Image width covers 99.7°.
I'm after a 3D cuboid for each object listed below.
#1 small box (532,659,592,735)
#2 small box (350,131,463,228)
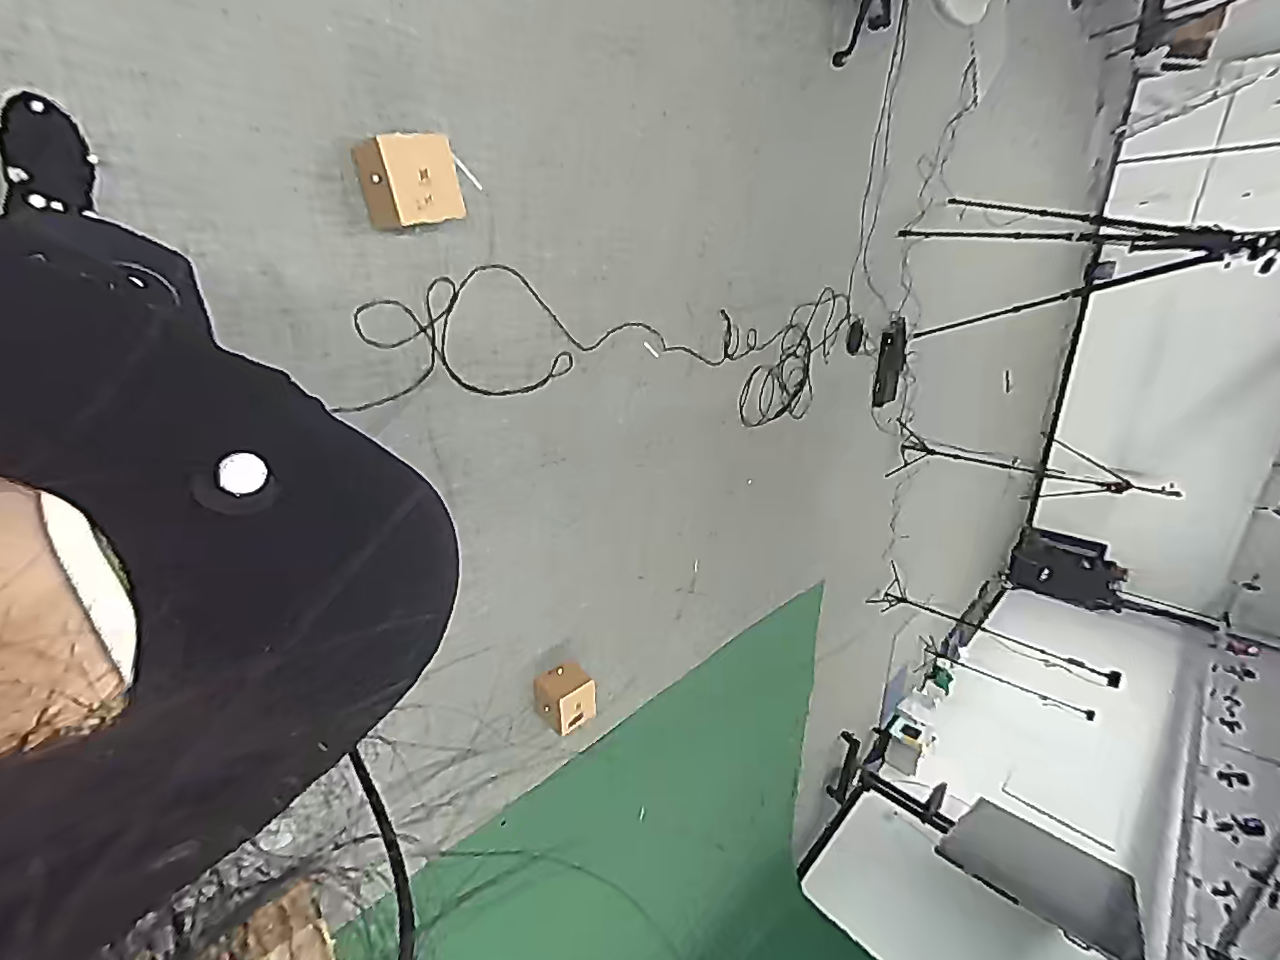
[{"bbox_3d":[-0.299,0.823,2.070,0.168,0.176,0.179,-18,116,-41],"label":"small box"},{"bbox_3d":[-0.548,-0.699,1.264,0.168,0.176,0.179,-29,125,-36],"label":"small box"}]
